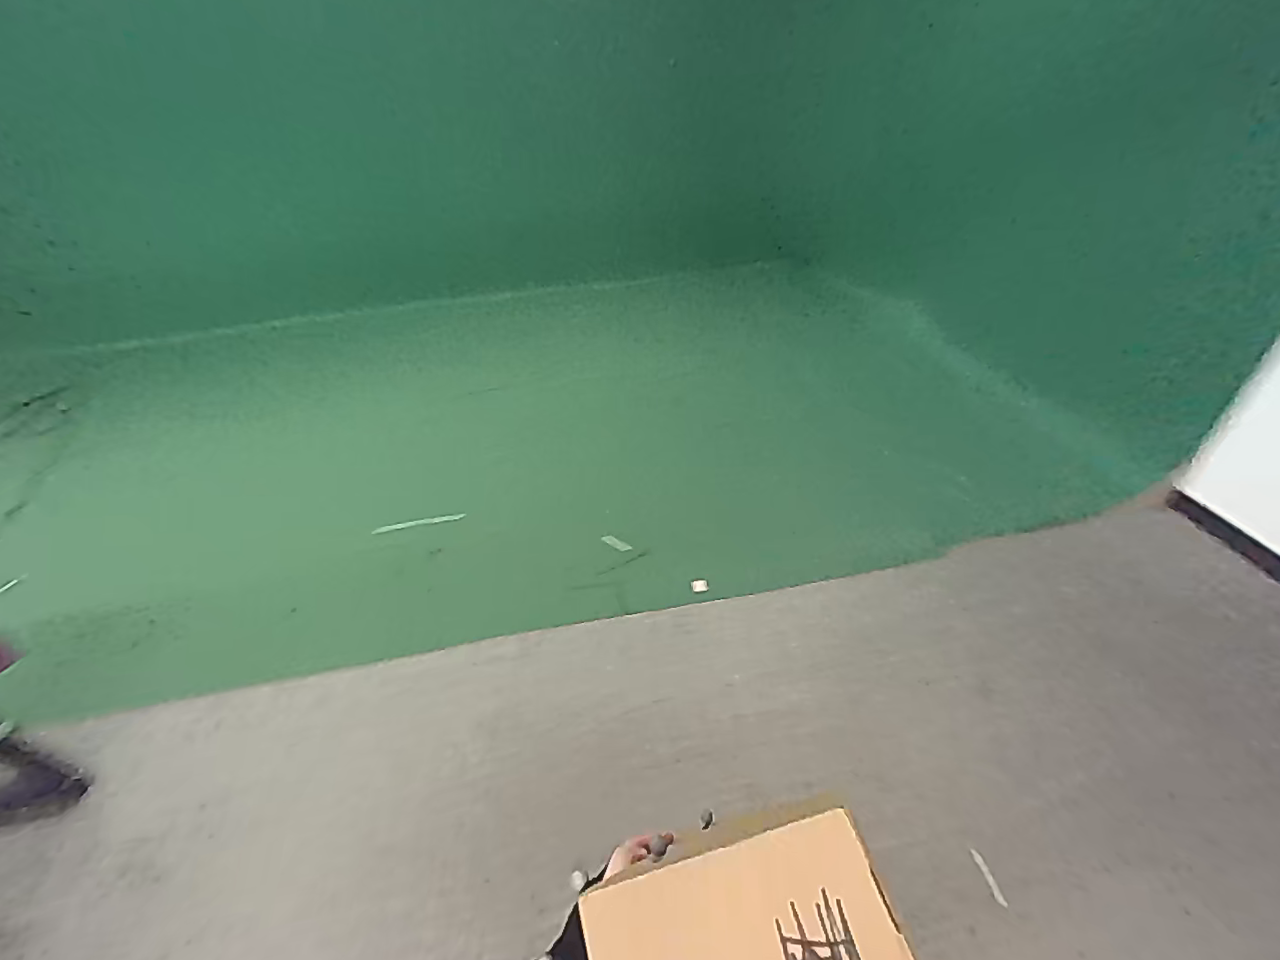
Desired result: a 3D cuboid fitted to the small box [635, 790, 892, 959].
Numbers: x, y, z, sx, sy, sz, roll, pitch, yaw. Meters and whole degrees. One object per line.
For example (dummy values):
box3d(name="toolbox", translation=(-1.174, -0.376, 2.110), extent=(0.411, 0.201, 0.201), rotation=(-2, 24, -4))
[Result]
box3d(name="small box", translation=(0.117, 0.396, 0.489), extent=(0.179, 0.176, 0.168), rotation=(-21, 60, 8))
